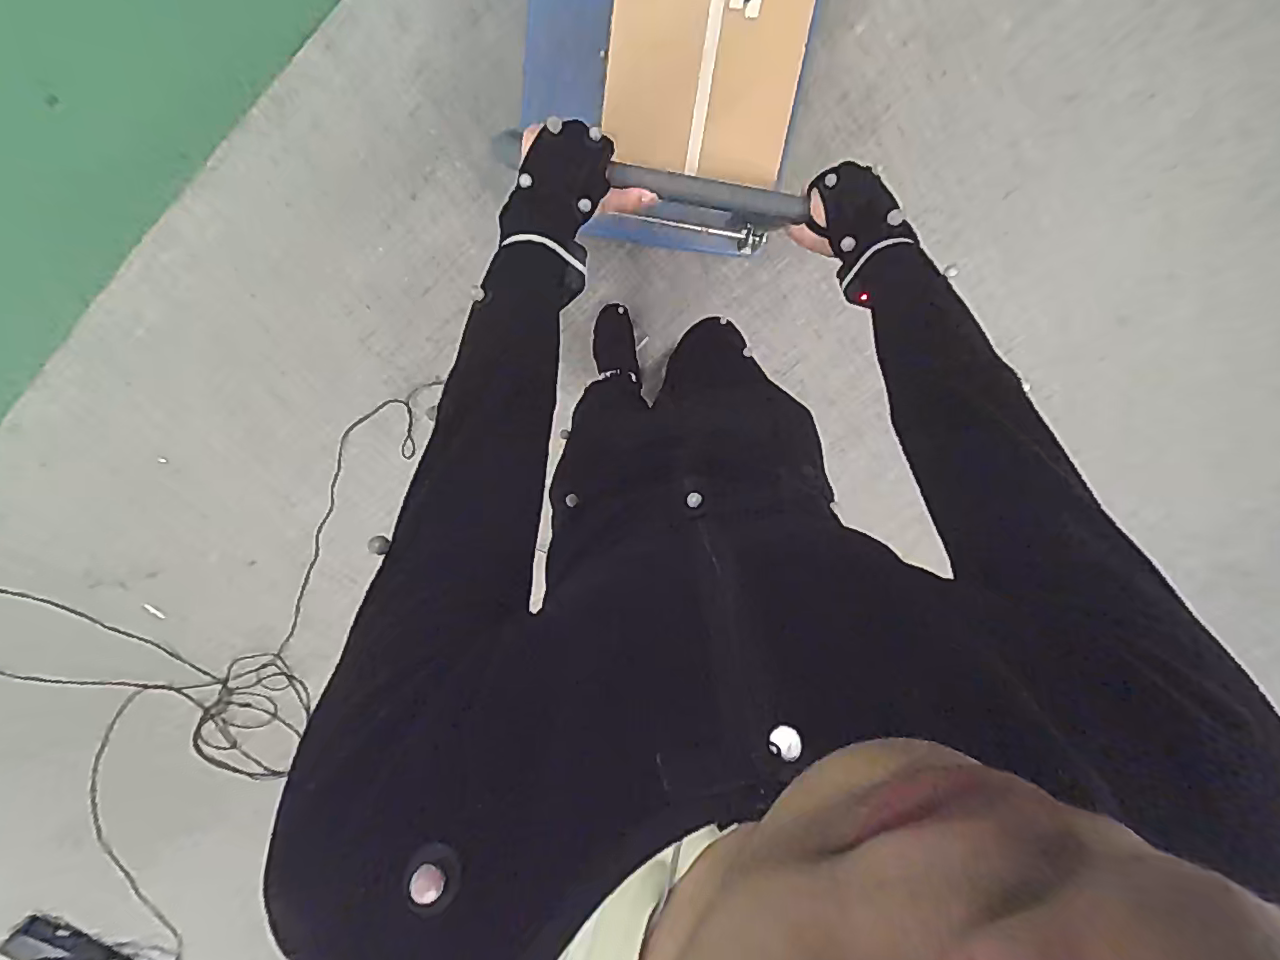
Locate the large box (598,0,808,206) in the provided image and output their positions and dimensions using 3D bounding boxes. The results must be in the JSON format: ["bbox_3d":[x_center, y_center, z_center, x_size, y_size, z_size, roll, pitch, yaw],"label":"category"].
[{"bbox_3d":[0.095,-0.764,1.011,0.320,0.320,0.408,6,112,-8],"label":"large box"}]
